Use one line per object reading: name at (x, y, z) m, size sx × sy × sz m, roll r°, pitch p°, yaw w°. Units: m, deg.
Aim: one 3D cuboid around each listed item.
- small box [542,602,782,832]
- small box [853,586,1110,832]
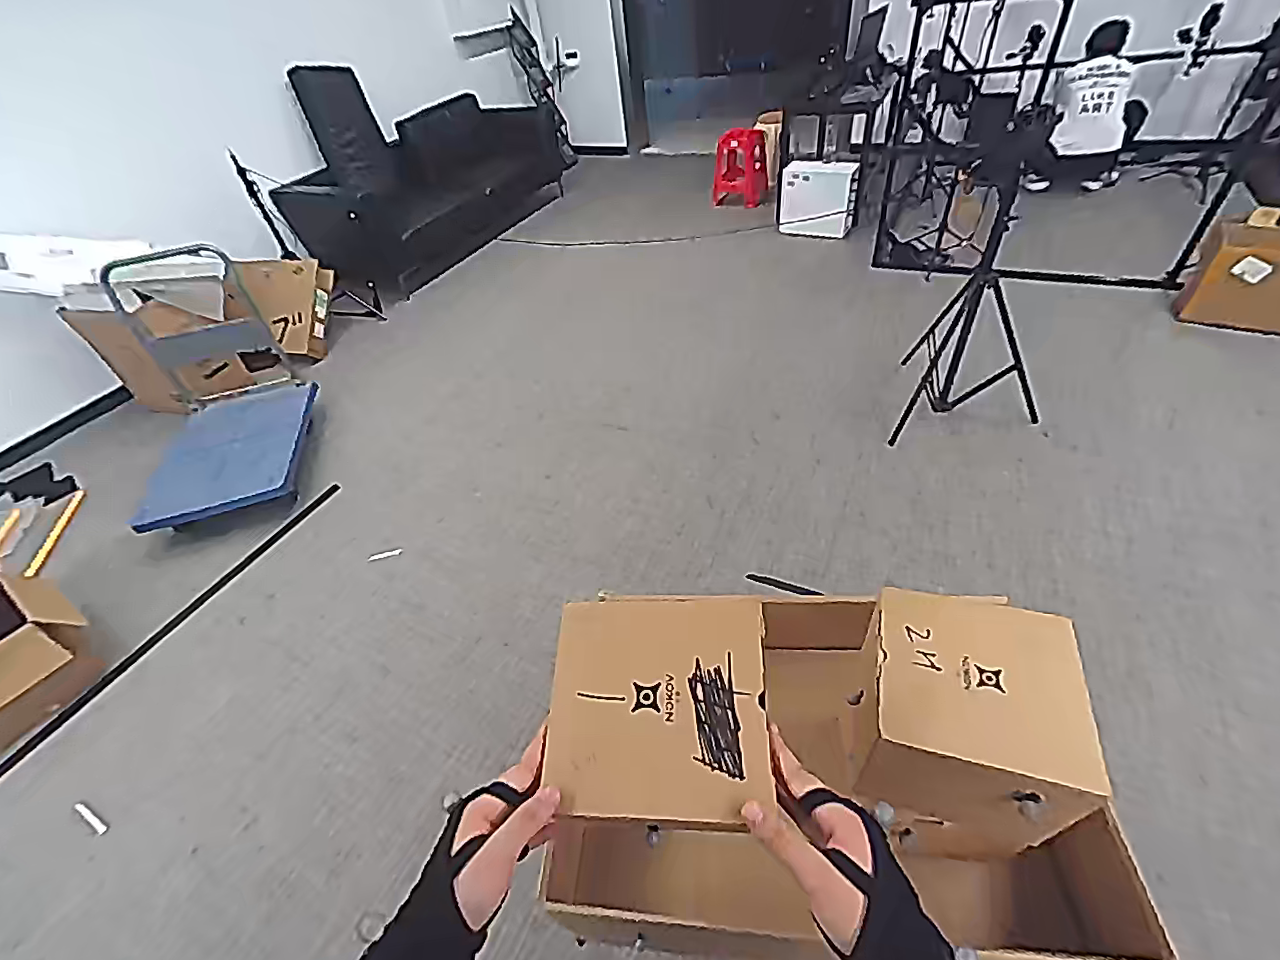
small box at (0.027, 0.220, 0.496) m, size 0.179 × 0.176 × 0.168 m, roll -3°, pitch 55°, yaw 8°
small box at (0.329, 0.238, 0.562) m, size 0.179 × 0.176 × 0.168 m, roll 7°, pitch 47°, yaw 19°
